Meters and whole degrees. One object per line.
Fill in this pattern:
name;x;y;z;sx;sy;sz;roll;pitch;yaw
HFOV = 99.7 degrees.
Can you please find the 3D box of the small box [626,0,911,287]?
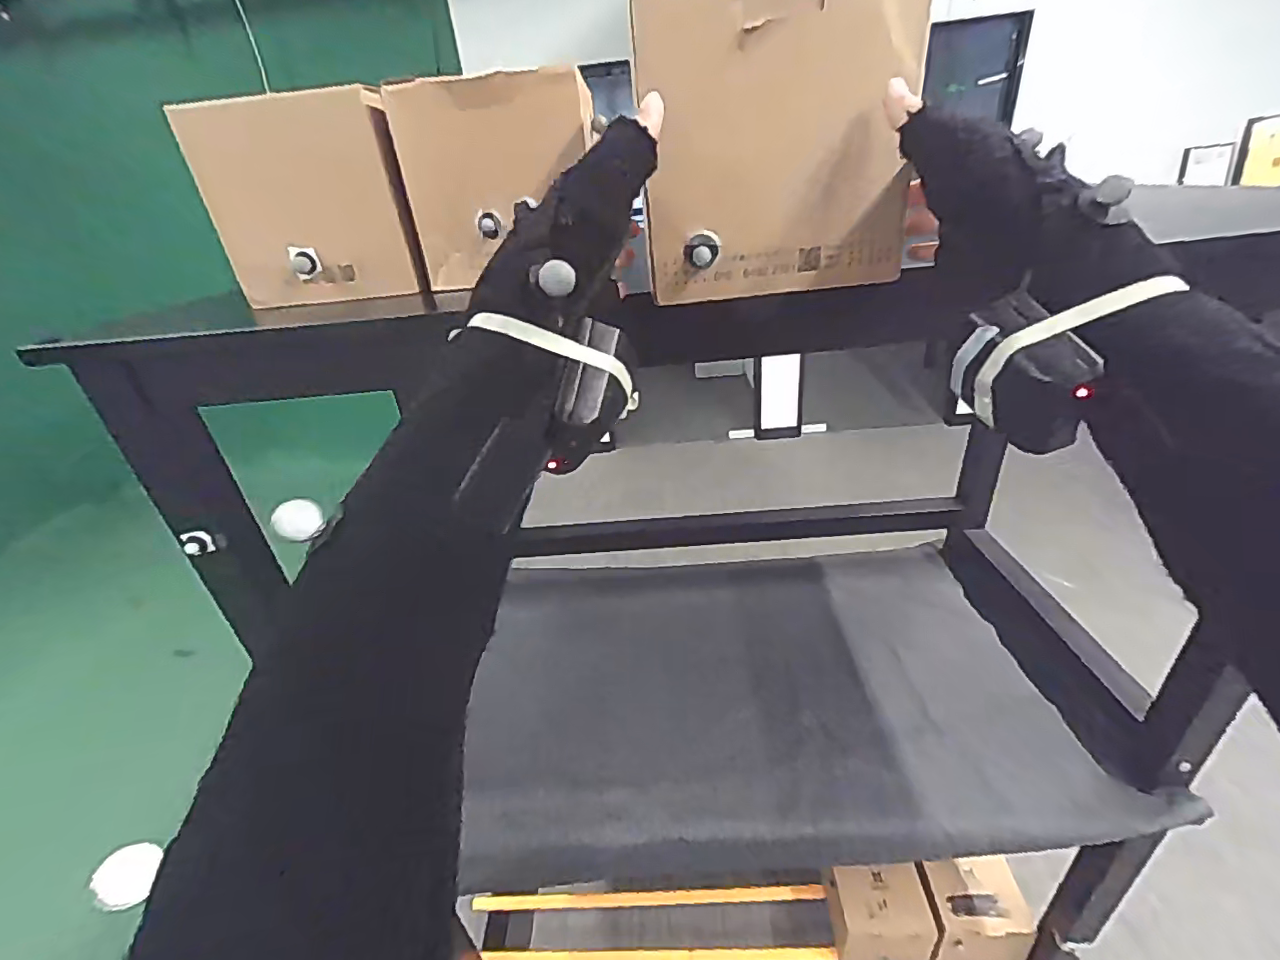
small box;0.082;-0.245;0.405;0.168;0.176;0.179;-5;27;2
